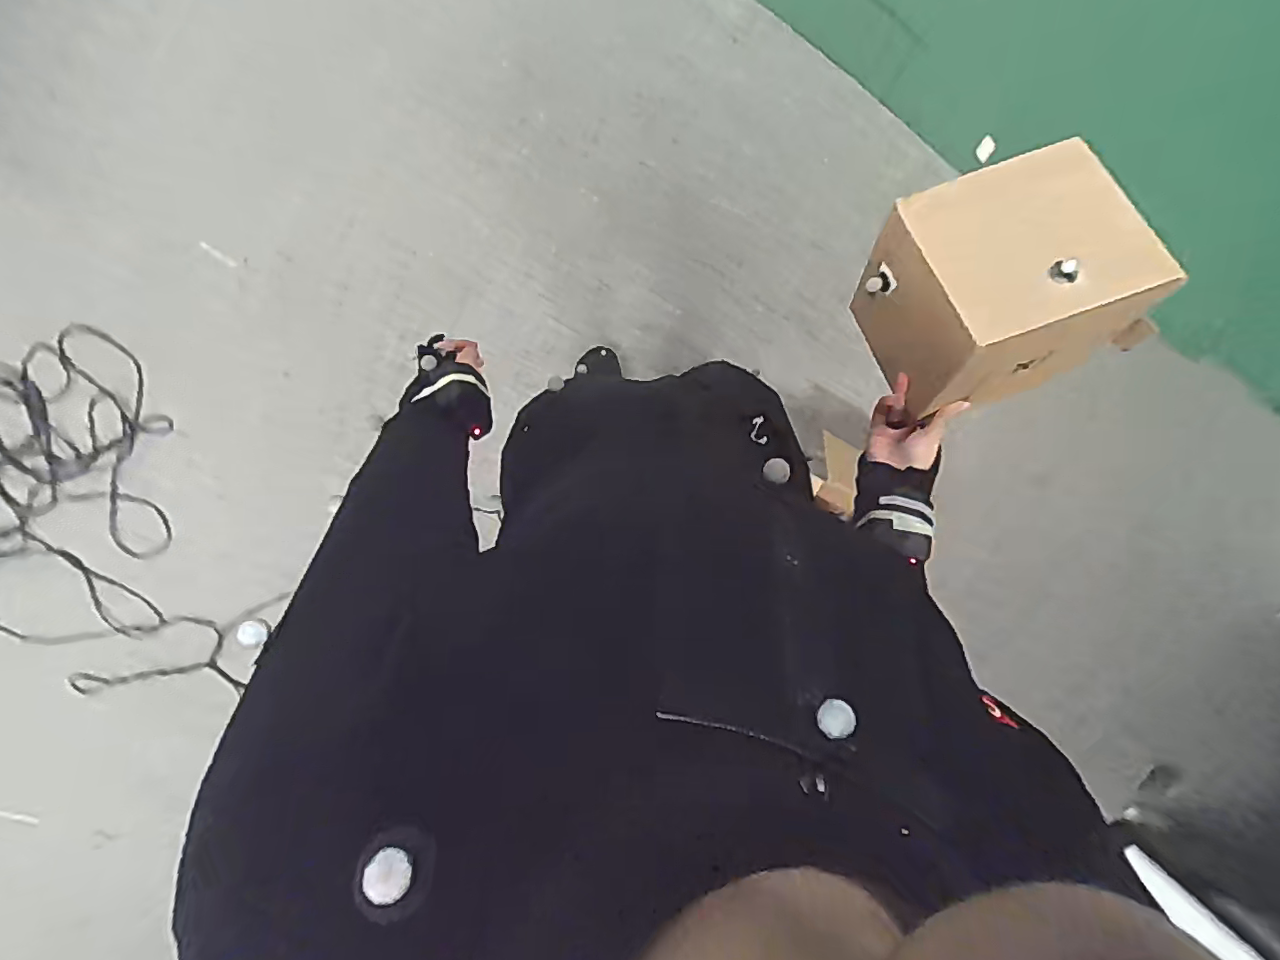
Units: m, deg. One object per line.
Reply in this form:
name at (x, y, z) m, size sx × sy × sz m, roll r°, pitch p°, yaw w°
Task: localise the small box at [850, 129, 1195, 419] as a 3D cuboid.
small box at (0.333, -0.188, 0.517) m, size 0.179 × 0.168 × 0.176 m, roll -19°, pitch 70°, yaw 2°
